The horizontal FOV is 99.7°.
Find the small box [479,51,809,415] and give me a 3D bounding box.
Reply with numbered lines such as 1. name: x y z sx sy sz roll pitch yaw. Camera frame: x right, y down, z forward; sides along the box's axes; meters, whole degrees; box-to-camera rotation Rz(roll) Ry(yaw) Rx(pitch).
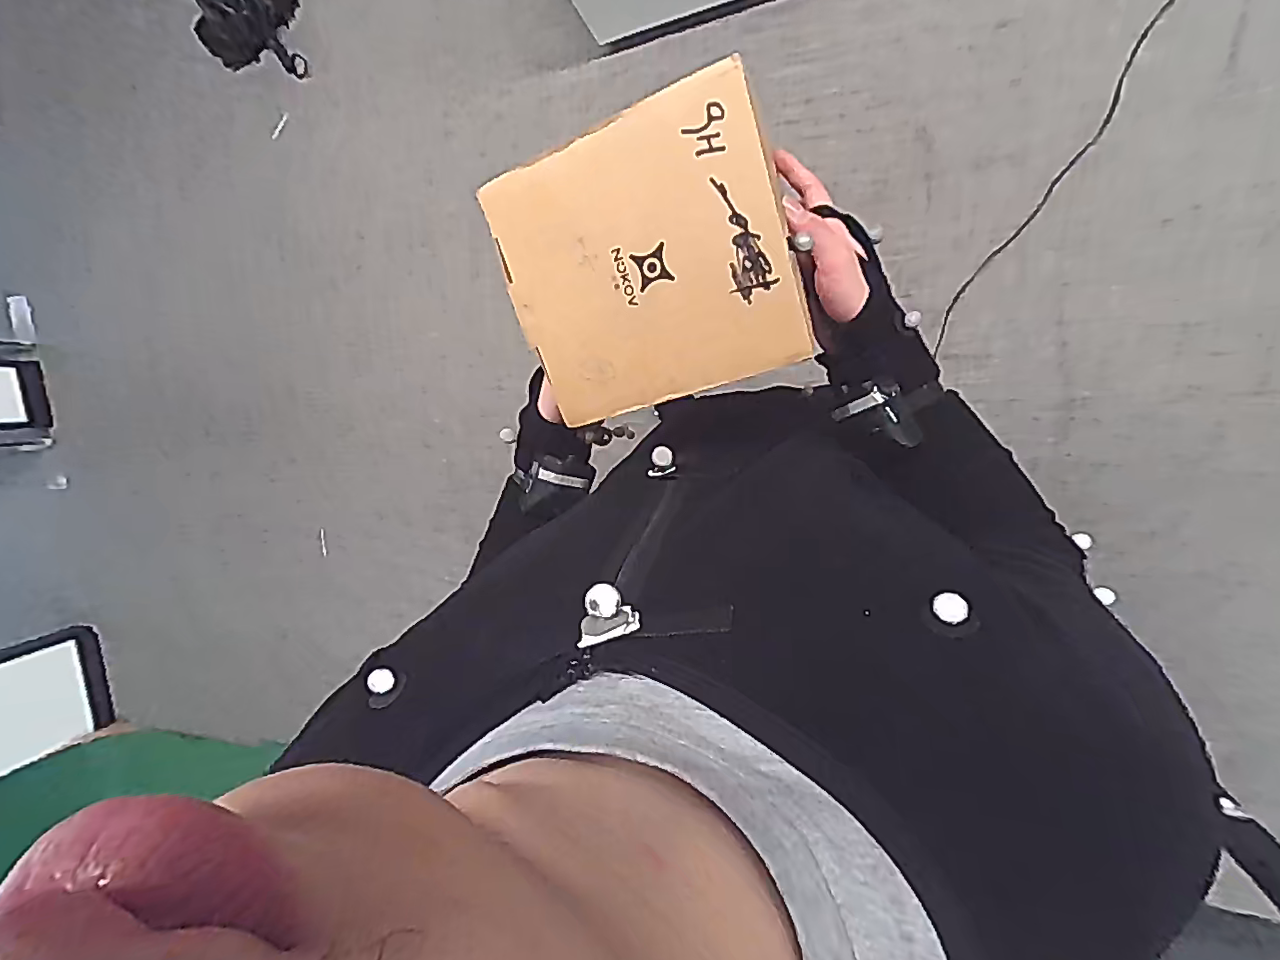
1. small box: 0.020 -0.162 0.405 0.179 0.176 0.168 -12 107 22
